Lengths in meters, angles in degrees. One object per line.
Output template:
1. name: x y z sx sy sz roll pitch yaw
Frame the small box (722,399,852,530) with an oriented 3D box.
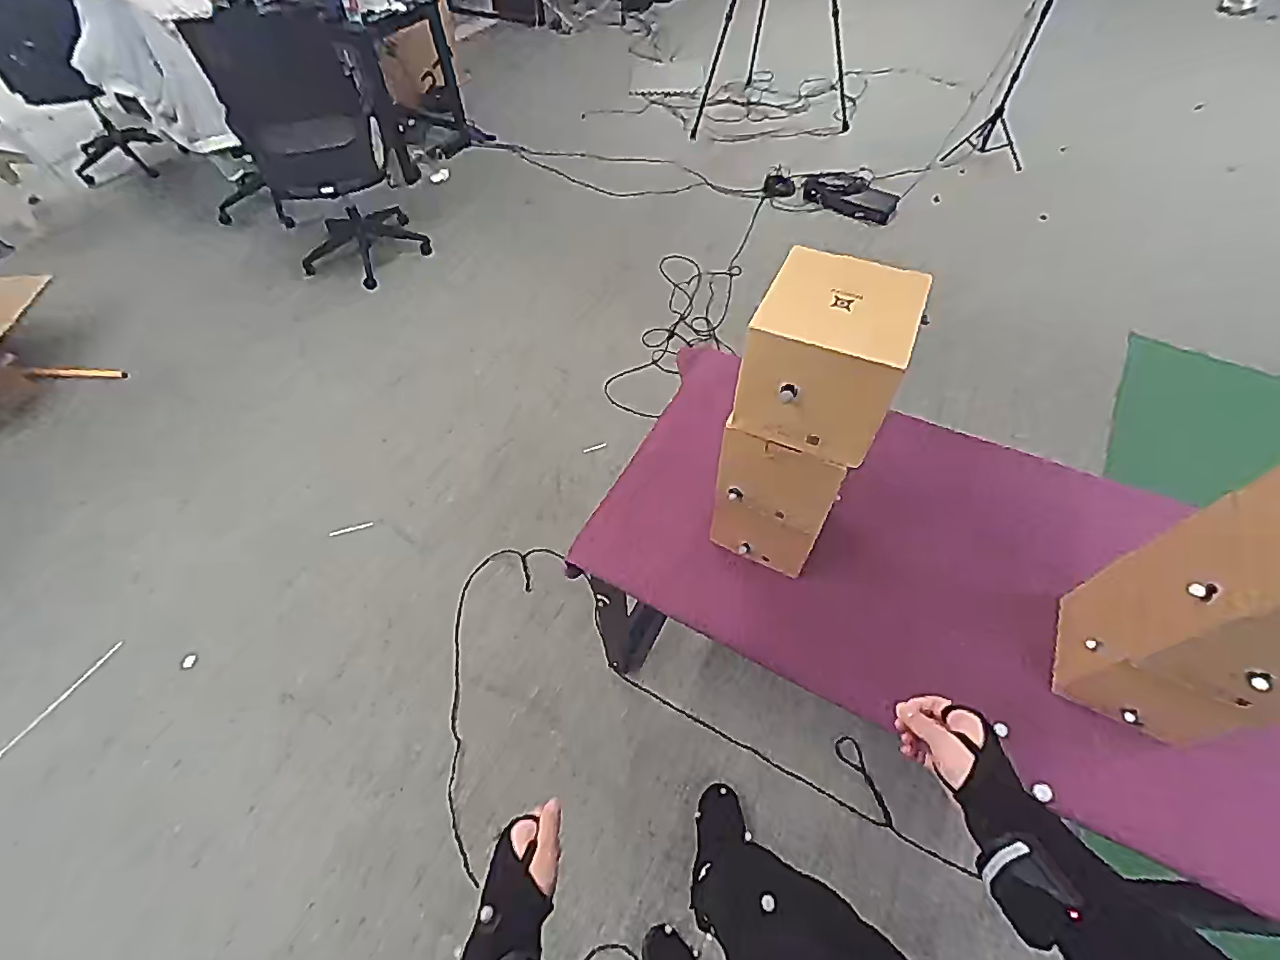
1. small box: 0.226 -0.057 0.784 0.168 0.176 0.179 23 57 17

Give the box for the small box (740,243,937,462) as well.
1. small box: 0.227 -0.149 0.650 0.168 0.176 0.179 21 56 16

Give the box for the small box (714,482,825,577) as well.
1. small box: 0.235 0.032 0.921 0.168 0.176 0.179 23 58 17

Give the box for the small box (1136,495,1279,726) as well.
1. small box: 0.722 0.155 0.621 0.168 0.176 0.179 24 58 17

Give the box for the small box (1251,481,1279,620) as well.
1. small box: 0.722 0.061 0.487 0.168 0.176 0.179 22 57 17
